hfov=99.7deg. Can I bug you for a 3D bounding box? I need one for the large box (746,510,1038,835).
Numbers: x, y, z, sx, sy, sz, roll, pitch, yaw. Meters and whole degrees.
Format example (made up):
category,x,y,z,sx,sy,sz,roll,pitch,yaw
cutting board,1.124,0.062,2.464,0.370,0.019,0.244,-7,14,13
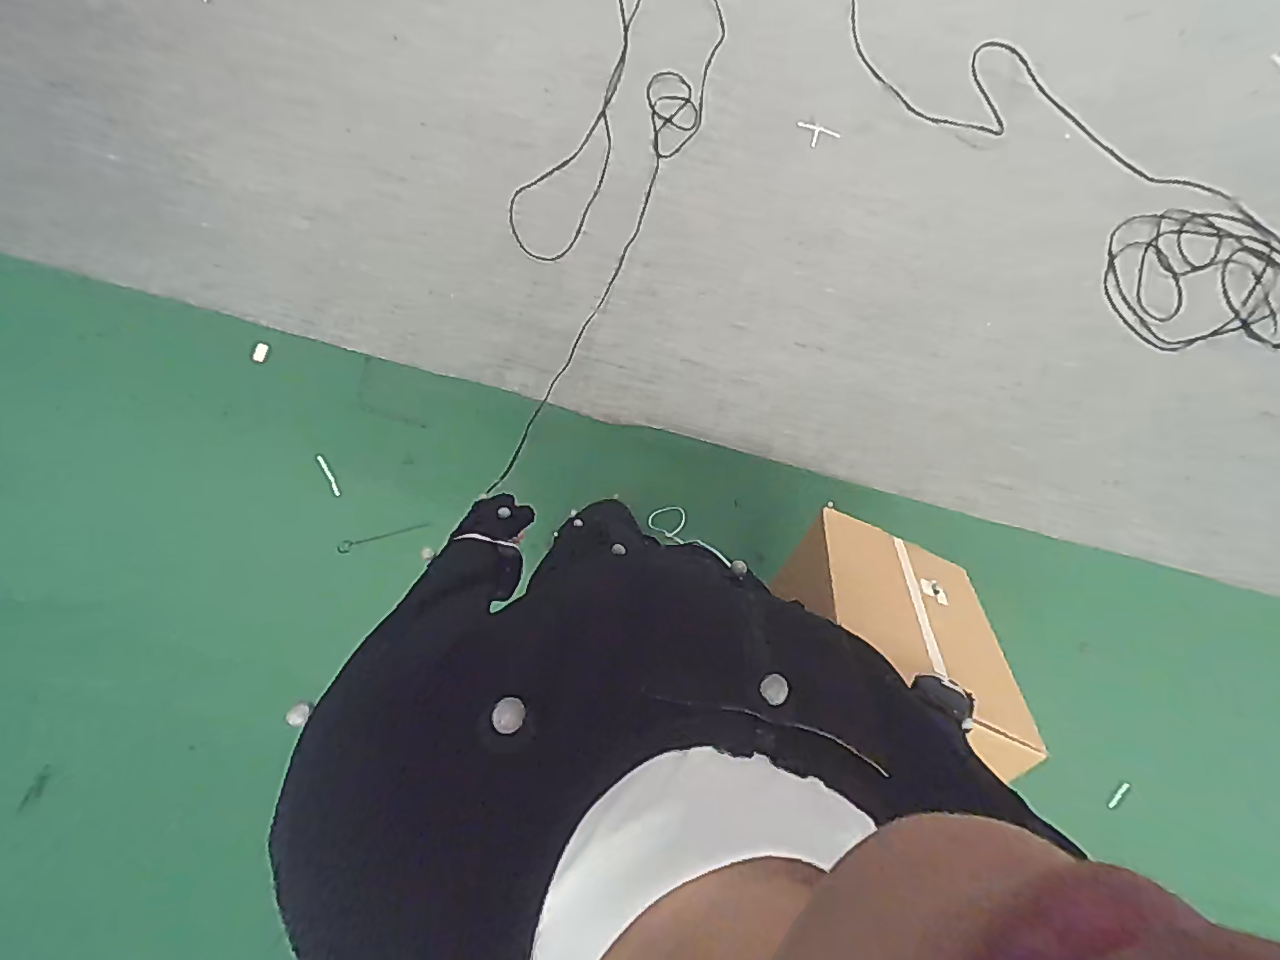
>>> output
category,x,y,z,sx,sy,sz,roll,pitch,yaw
large box,0.403,0.331,0.990,0.320,0.408,0.320,25,122,0
